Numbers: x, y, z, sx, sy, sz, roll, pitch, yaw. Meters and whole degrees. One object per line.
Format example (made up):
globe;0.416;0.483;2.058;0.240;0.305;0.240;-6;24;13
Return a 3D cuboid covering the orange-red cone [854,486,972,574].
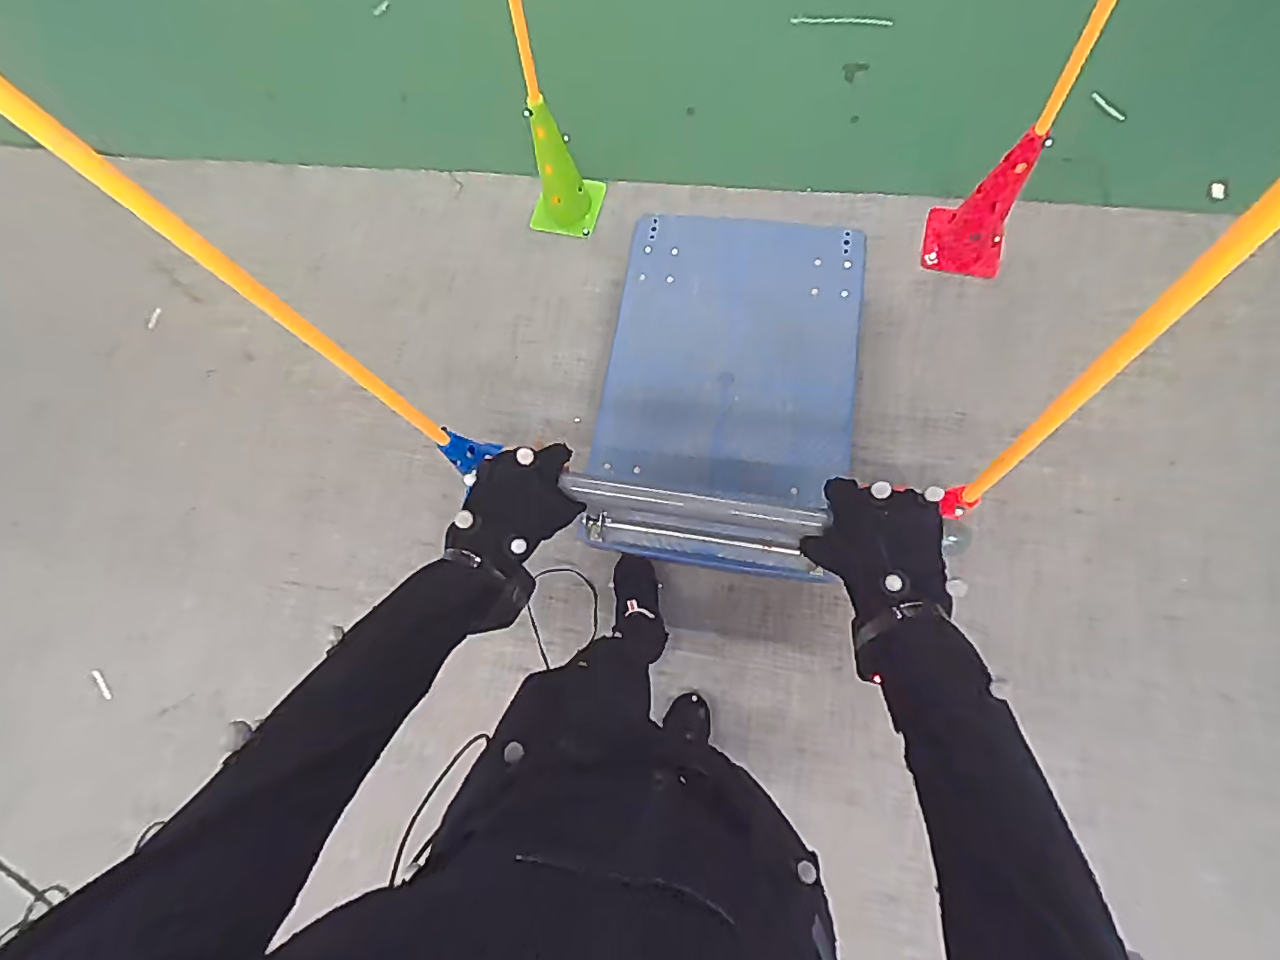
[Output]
orange-red cone;0.609;0.077;1.158;0.199;0.360;0.198;7;76;10

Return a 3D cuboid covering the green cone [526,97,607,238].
green cone;-0.235;-0.880;1.495;0.202;0.368;0.200;12;77;10
